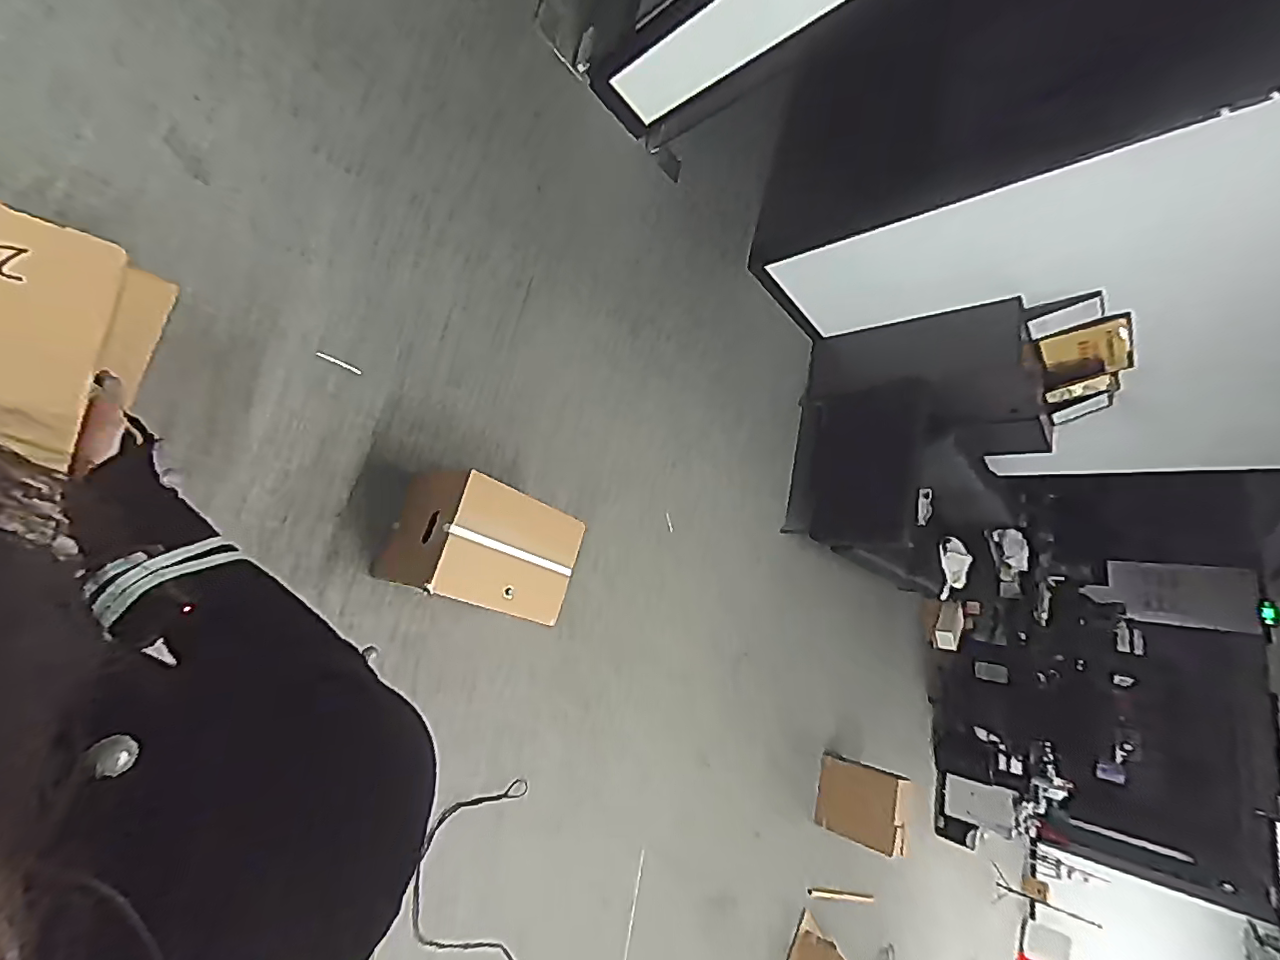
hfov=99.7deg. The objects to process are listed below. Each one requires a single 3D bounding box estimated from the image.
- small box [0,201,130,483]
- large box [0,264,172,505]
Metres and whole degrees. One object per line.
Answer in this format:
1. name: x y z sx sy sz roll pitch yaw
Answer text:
1. small box: -0.493 -0.106 0.382 0.168 0.176 0.179 15 85 -45
2. large box: -1.045 -0.186 0.886 0.320 0.320 0.408 24 71 -44
